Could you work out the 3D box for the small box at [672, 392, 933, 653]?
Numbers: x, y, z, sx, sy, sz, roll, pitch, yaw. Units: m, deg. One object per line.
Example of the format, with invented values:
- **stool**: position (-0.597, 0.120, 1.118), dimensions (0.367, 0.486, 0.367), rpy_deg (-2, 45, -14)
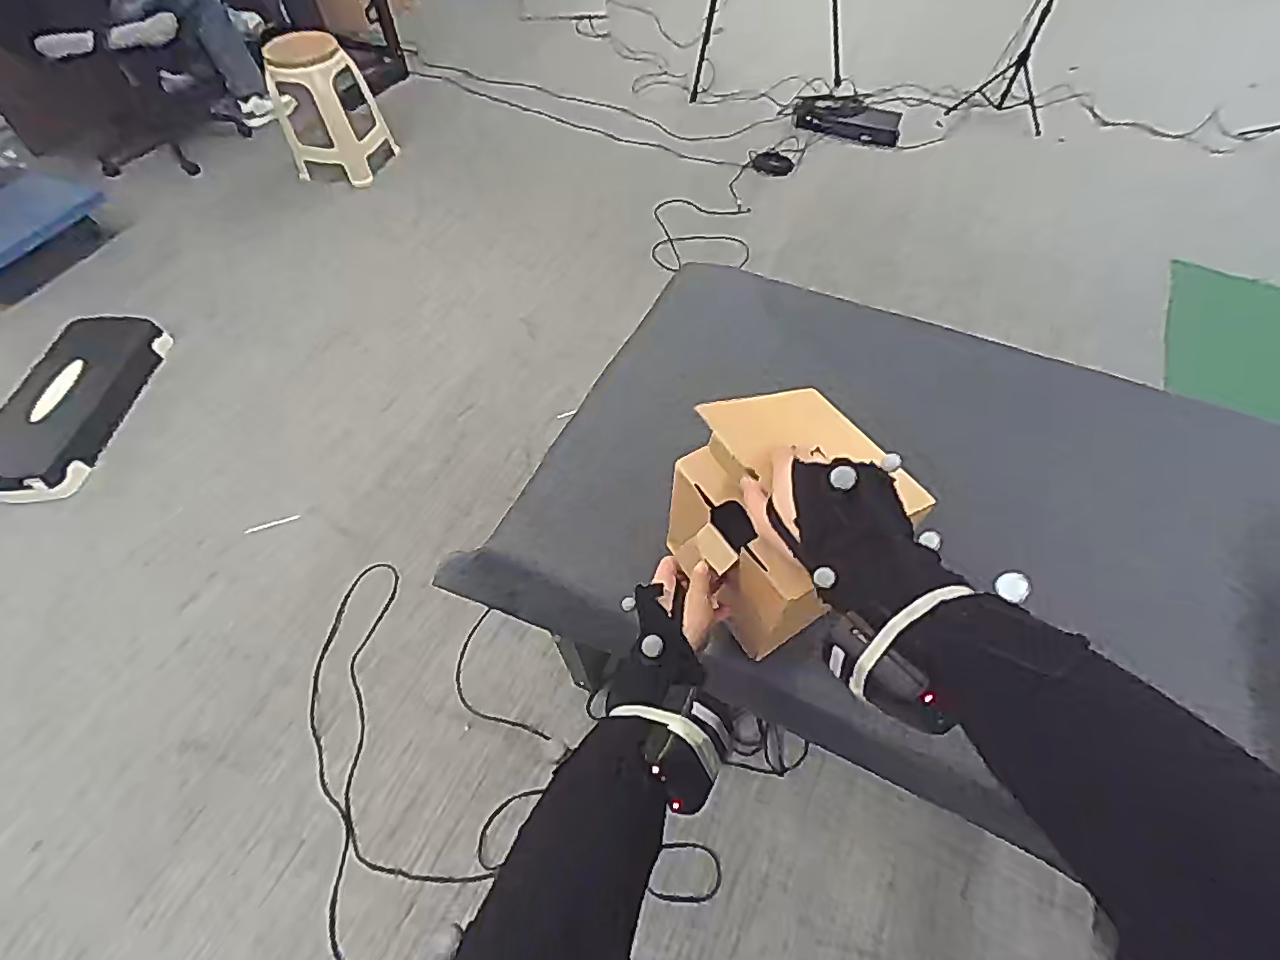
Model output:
- **small box**: position (0.146, 0.047, 0.557), dimensions (0.179, 0.176, 0.168), rpy_deg (-28, 60, -17)
